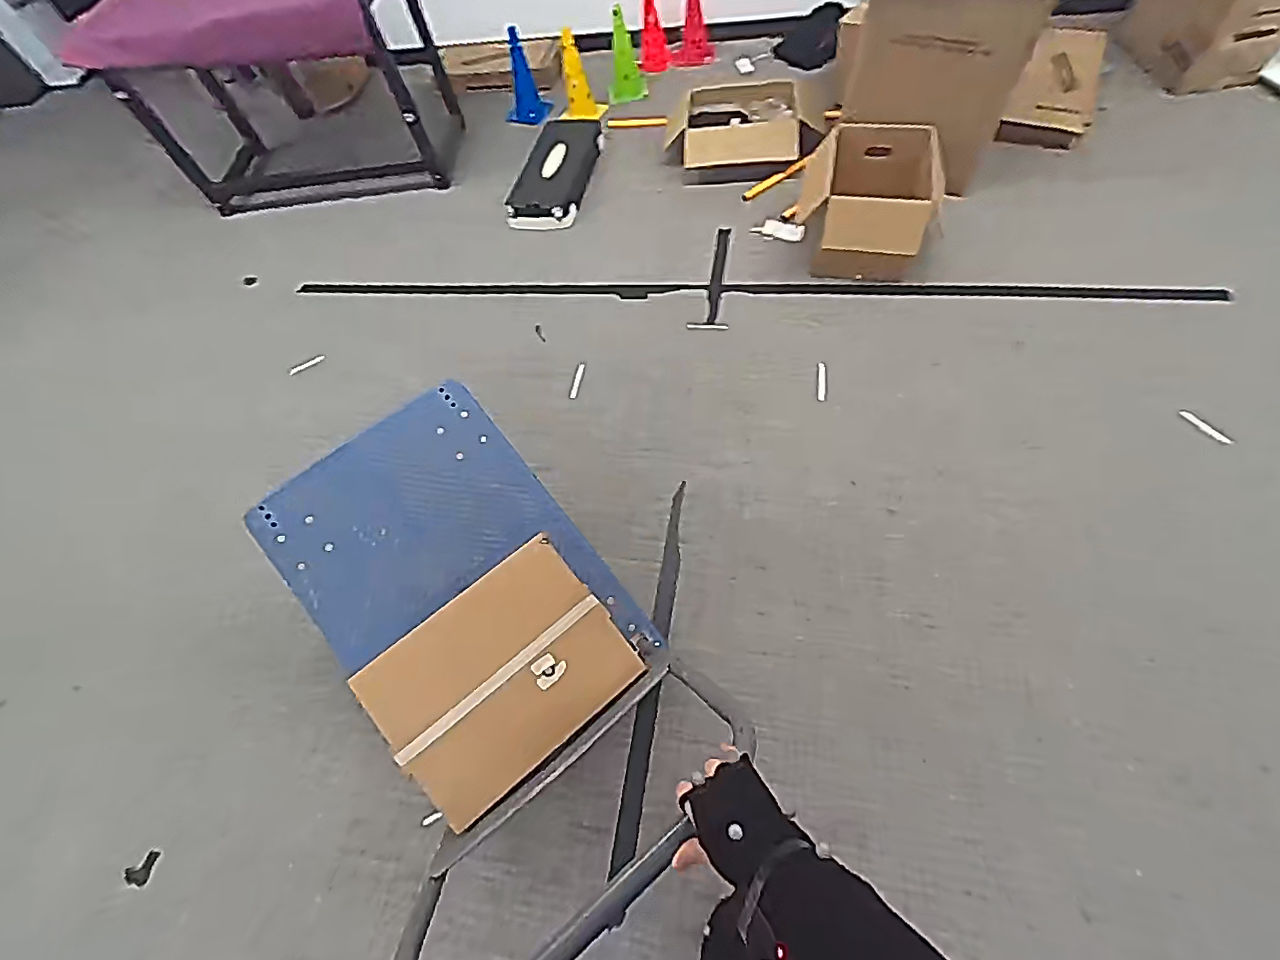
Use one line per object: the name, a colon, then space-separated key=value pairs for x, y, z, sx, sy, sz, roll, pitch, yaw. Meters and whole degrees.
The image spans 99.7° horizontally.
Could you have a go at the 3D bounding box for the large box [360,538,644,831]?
large box: x=-0.255 y=0.381 z=1.092 sx=0.408 sy=0.320 sz=0.320 roll=-39 pitch=85 yaw=-15
